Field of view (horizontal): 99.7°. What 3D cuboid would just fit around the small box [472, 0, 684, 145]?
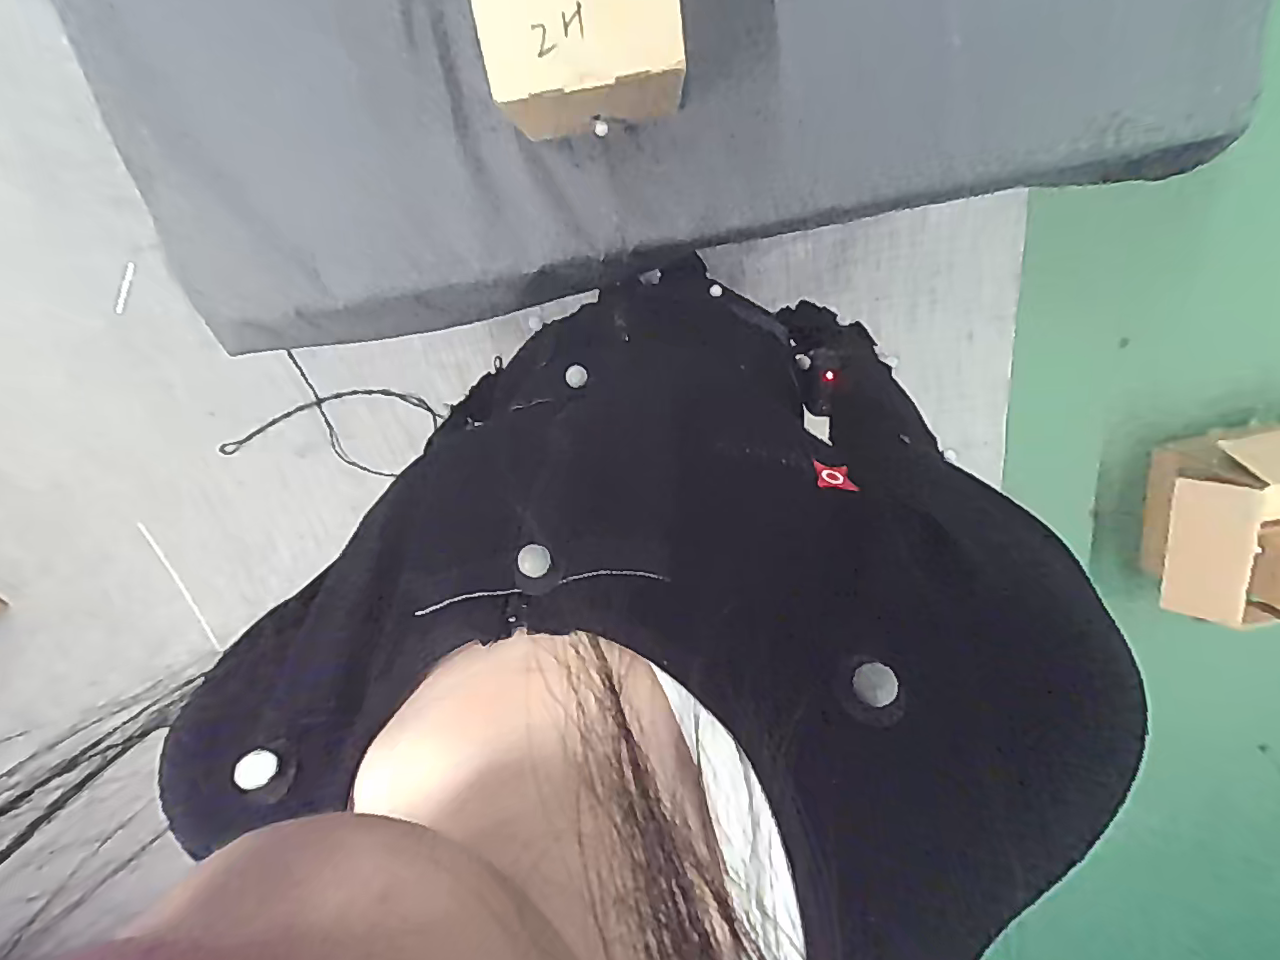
[{"bbox_3d":[-0.056,-0.434,0.495,0.168,0.176,0.179,-8,113,4],"label":"small box"}]
